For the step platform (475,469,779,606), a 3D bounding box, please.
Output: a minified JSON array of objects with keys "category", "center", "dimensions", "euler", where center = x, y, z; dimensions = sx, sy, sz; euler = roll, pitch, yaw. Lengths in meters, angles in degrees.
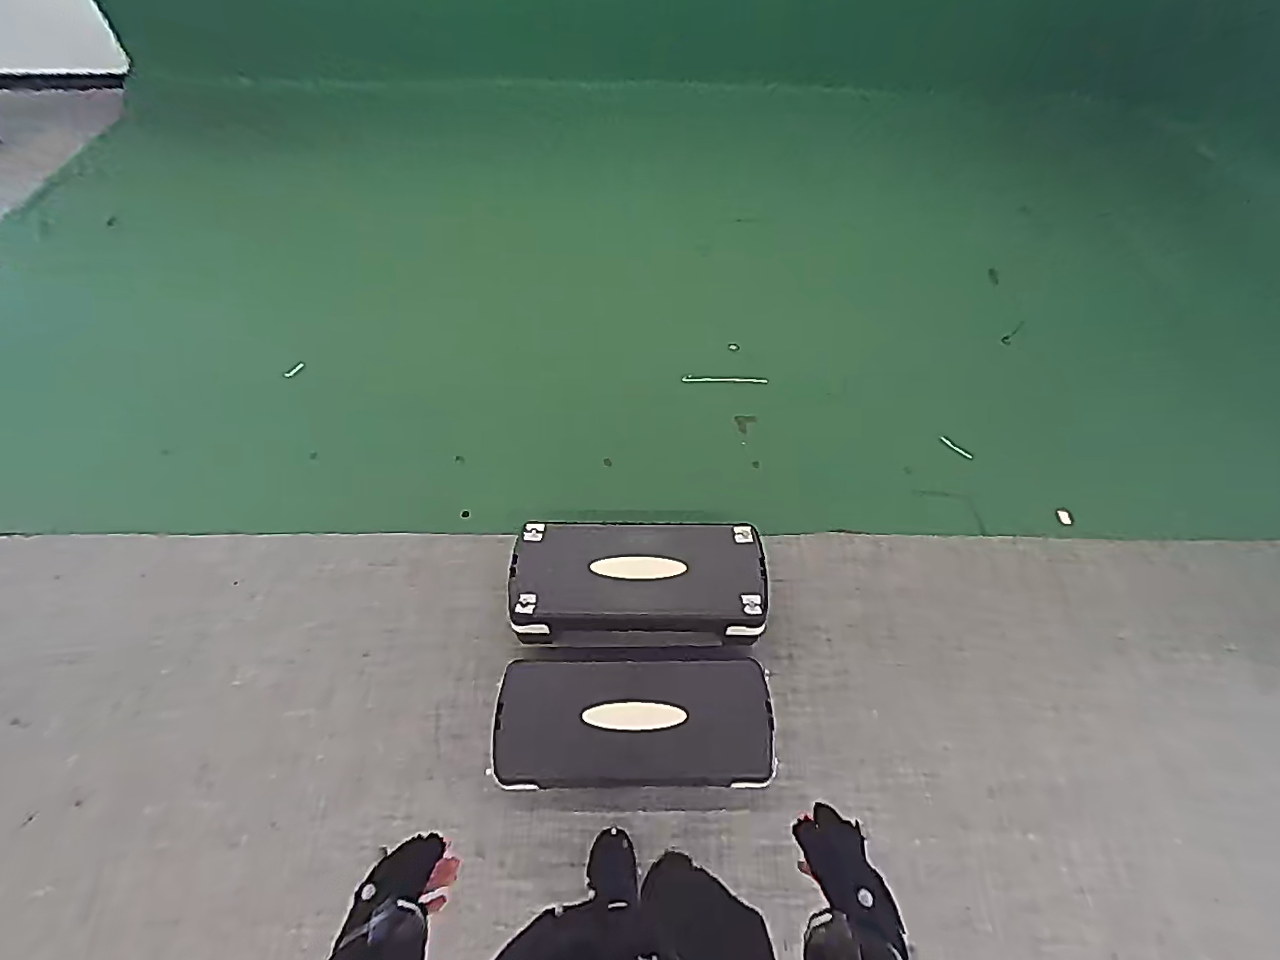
[{"category":"step platform","center":[-0.028,0.143,1.305],"dimensions":[0.684,0.204,0.286],"euler":[0,57,0]}]
